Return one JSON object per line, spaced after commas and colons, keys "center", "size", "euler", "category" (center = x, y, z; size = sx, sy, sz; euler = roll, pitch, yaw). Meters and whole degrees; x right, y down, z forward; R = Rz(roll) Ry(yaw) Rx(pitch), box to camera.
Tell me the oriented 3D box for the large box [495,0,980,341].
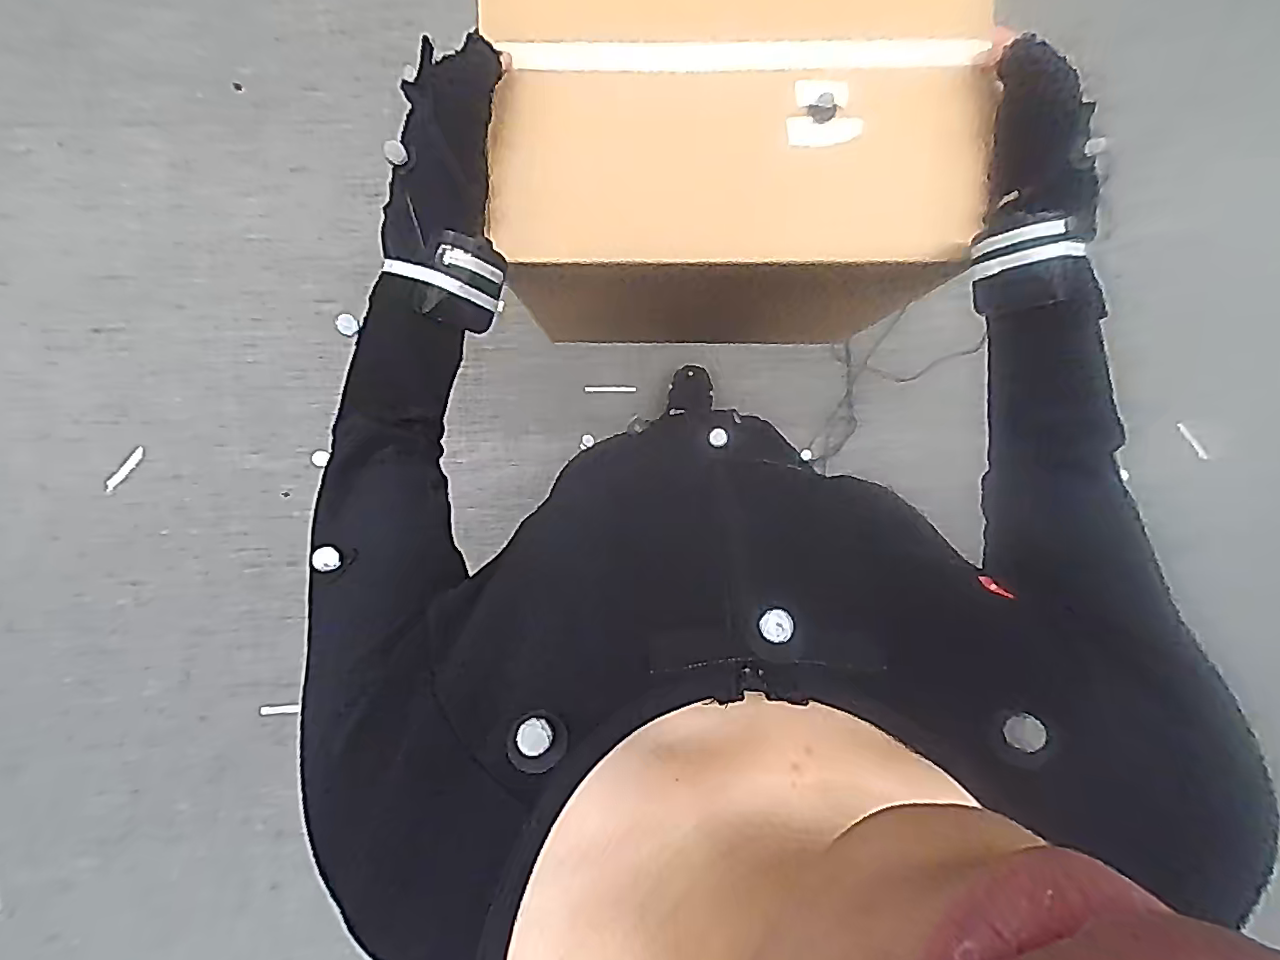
{"center": [0.077, -0.345, 0.593], "size": [0.408, 0.320, 0.320], "euler": [0, 92, 0], "category": "large box"}
